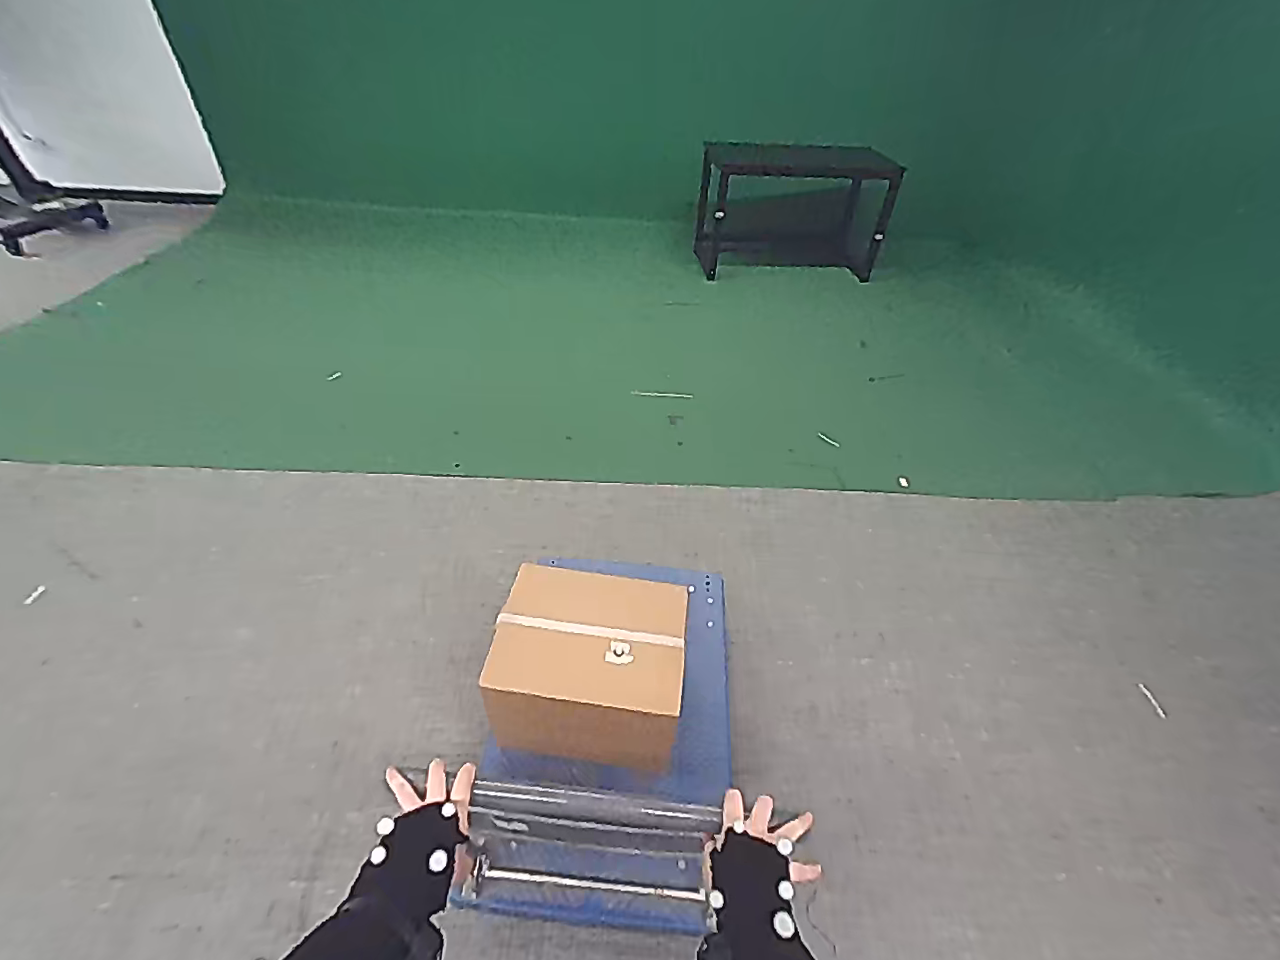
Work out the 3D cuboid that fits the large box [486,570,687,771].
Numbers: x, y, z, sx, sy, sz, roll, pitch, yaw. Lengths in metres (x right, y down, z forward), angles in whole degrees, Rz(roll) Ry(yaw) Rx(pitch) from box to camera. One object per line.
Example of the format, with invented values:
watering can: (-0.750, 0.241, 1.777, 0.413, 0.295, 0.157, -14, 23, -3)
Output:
large box: (-0.112, 0.451, 1.288, 0.408, 0.320, 0.320, 8, 42, 2)
